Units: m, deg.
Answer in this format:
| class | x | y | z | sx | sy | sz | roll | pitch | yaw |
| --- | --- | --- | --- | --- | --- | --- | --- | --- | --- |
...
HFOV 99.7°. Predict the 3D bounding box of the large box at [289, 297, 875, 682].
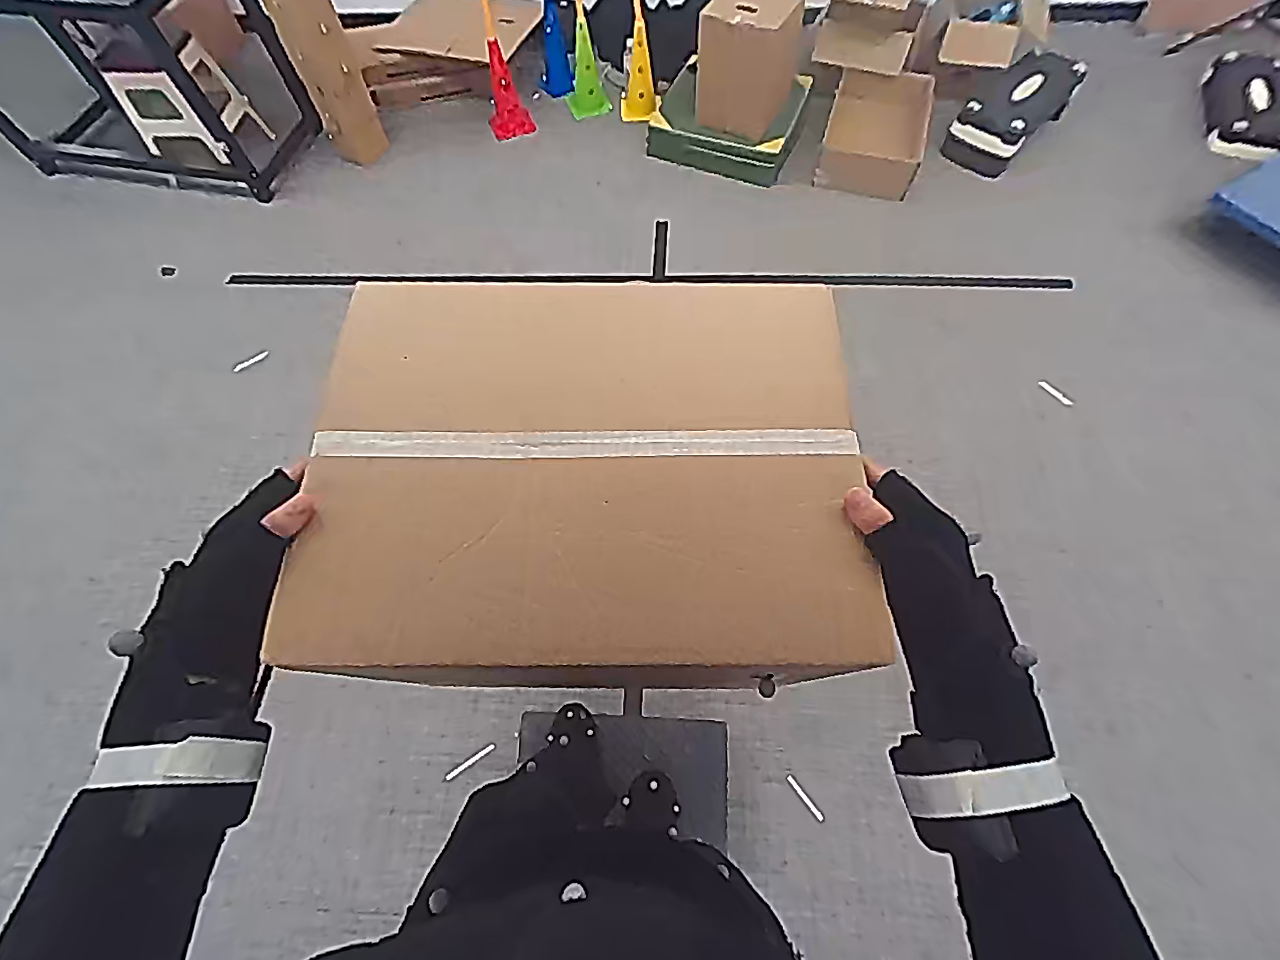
| class | x | y | z | sx | sy | sz | roll | pitch | yaw |
| --- | --- | --- | --- | --- | --- | --- | --- | --- | --- |
| large box | -0.038 | 0.039 | 0.556 | 0.408 | 0.320 | 0.320 | 0 | 66 | 0 |
